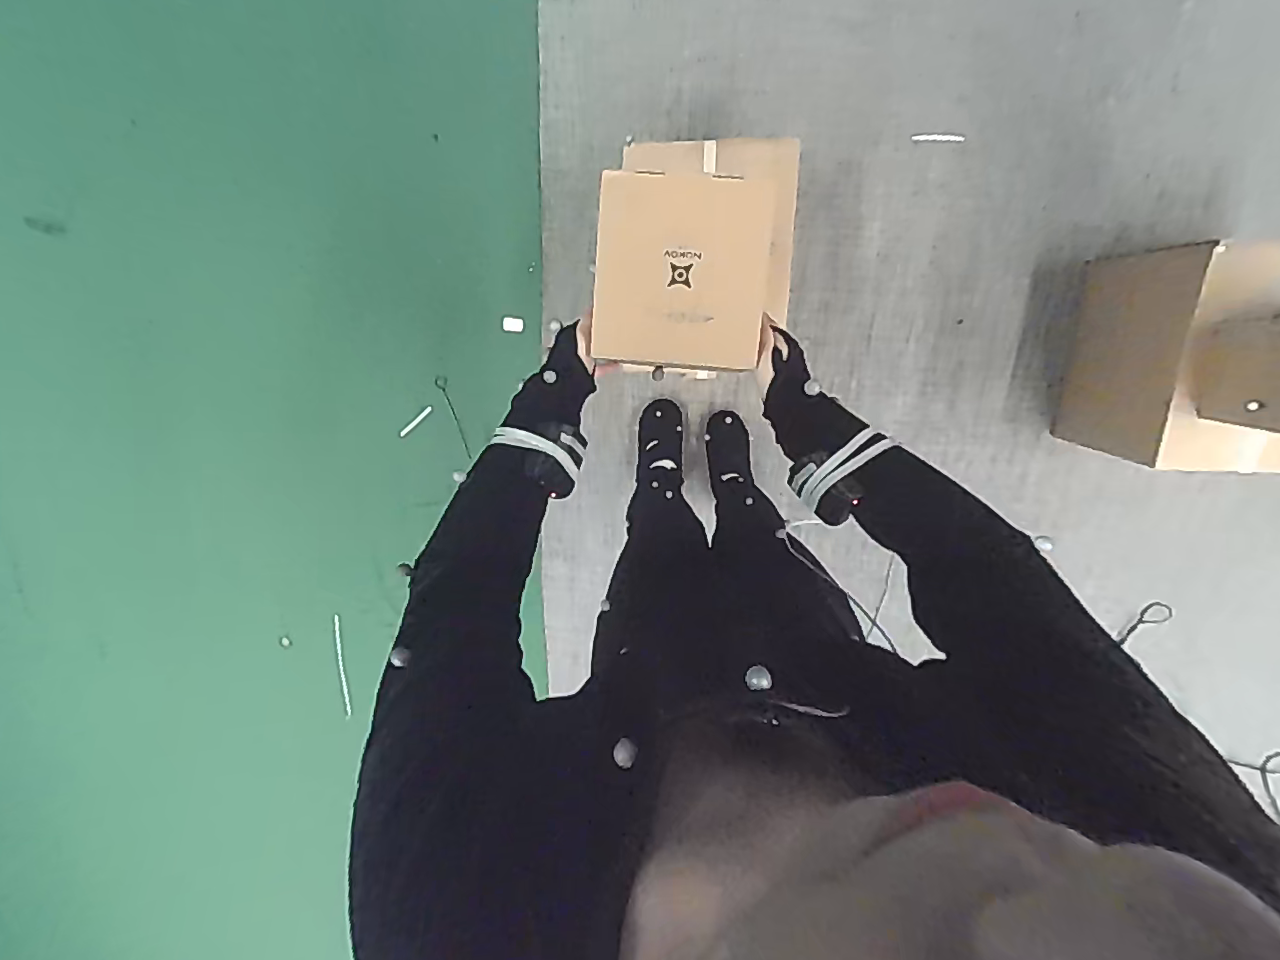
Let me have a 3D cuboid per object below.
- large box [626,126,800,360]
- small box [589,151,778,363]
[{"bbox_3d":[0.141,-0.467,1.146,0.320,0.320,0.408,3,106,5],"label":"large box"},{"bbox_3d":[0.043,-0.225,0.588,0.168,0.176,0.179,6,102,4],"label":"small box"}]
